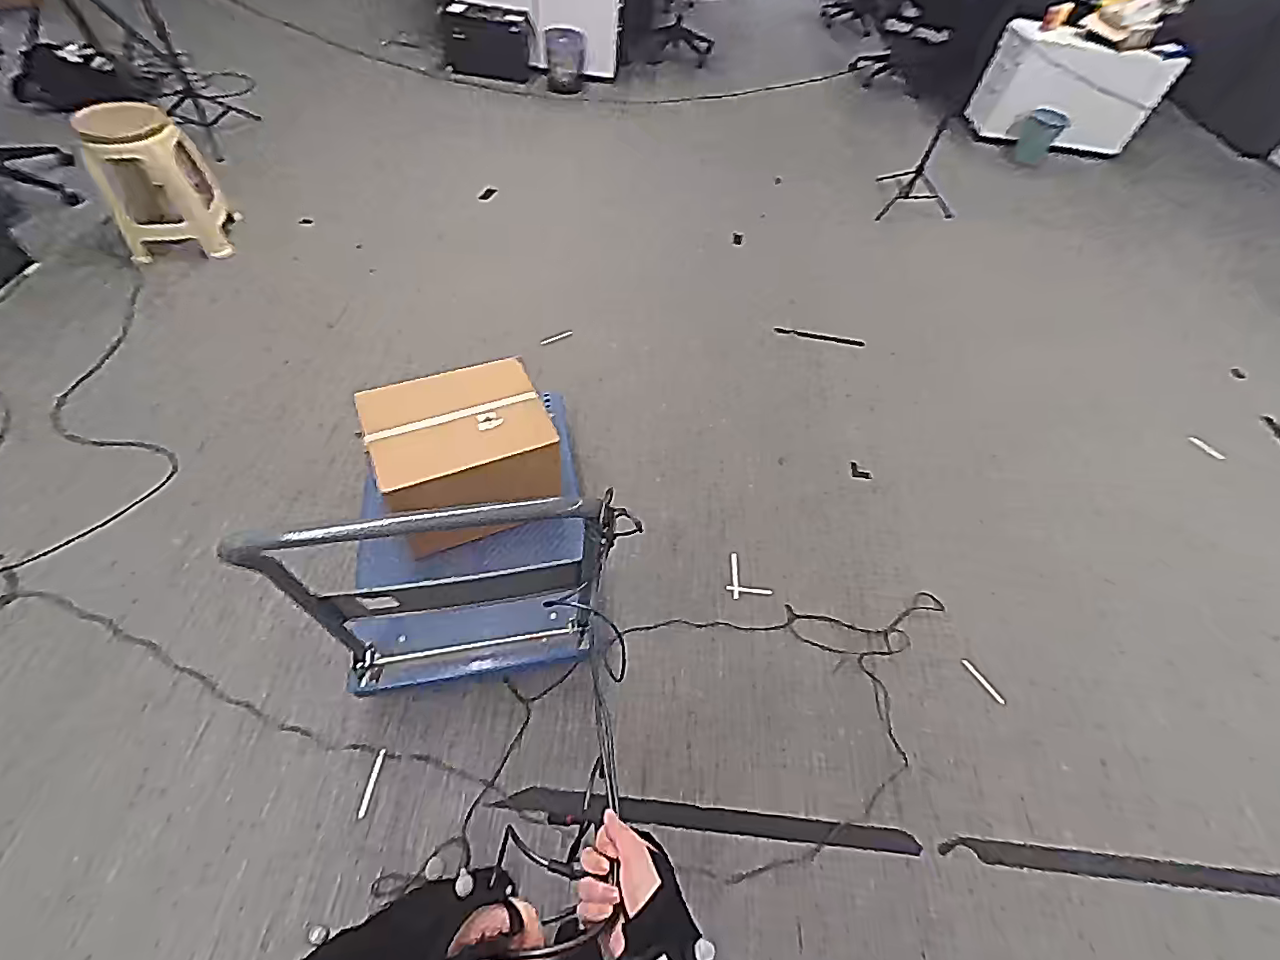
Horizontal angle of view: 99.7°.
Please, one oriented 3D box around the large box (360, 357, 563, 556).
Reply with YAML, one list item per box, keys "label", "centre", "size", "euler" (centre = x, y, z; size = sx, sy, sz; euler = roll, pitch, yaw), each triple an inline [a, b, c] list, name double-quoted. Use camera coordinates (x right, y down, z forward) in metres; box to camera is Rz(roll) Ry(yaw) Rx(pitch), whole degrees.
- label: "large box"
  centre: [-0.441, -0.061, 1.394]
  size: [0.408, 0.320, 0.320]
  euler: [-18, 60, -20]
